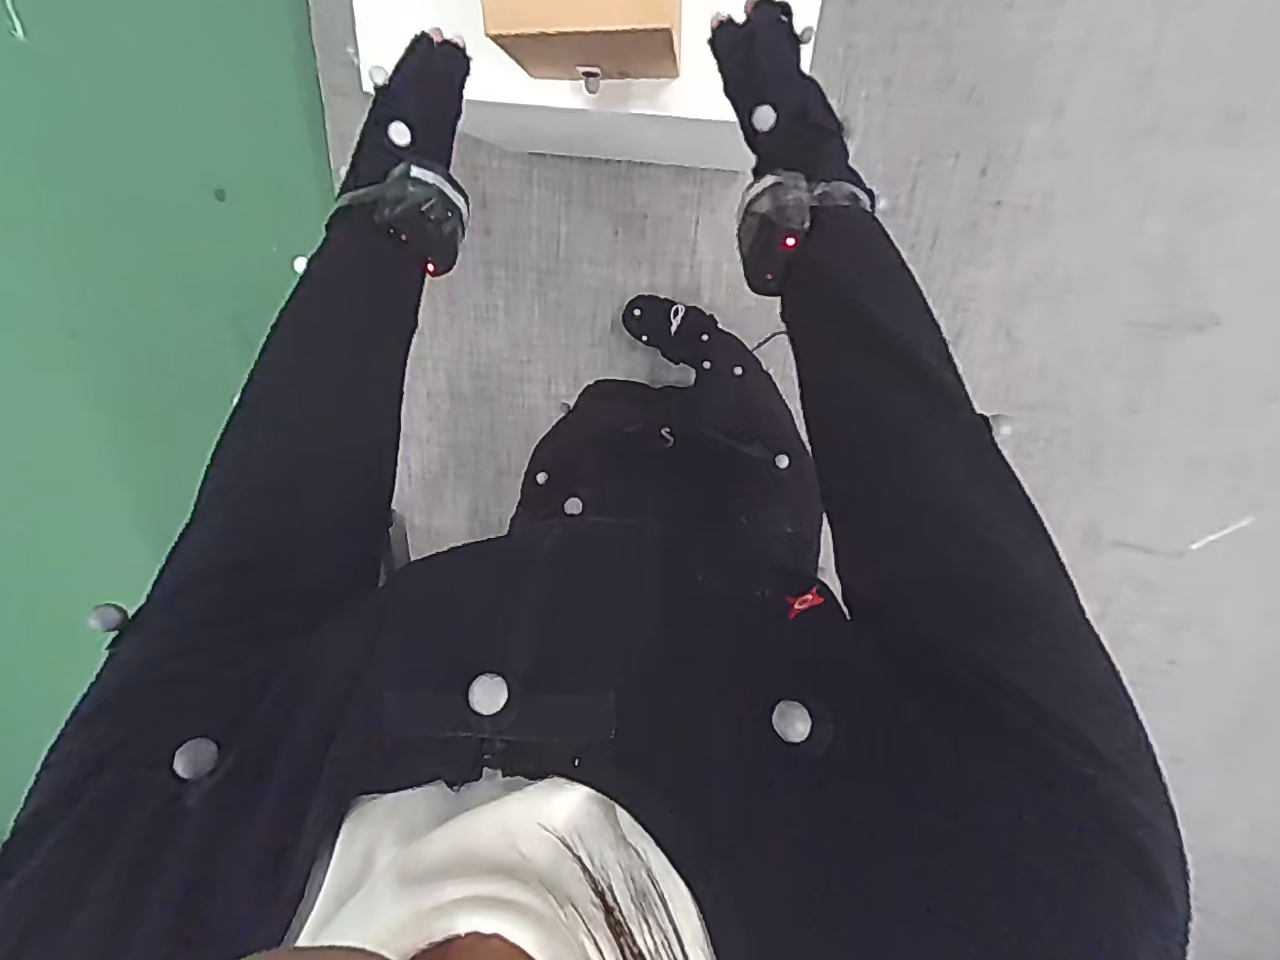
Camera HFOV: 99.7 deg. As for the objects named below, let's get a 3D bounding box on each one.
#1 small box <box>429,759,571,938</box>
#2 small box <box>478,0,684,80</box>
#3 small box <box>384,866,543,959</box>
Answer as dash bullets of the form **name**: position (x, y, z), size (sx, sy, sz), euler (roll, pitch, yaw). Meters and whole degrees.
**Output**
- **small box**: position (-0.212, 0.577, 0.859), size (0.179, 0.176, 0.168), euler (9, 116, 3)
- **small box**: position (-0.046, -0.490, 0.490), size (0.168, 0.176, 0.179), euler (3, 116, 7)
- **small box**: position (-0.233, 0.657, 0.717), size (0.168, 0.176, 0.179), euler (5, 118, 6)
